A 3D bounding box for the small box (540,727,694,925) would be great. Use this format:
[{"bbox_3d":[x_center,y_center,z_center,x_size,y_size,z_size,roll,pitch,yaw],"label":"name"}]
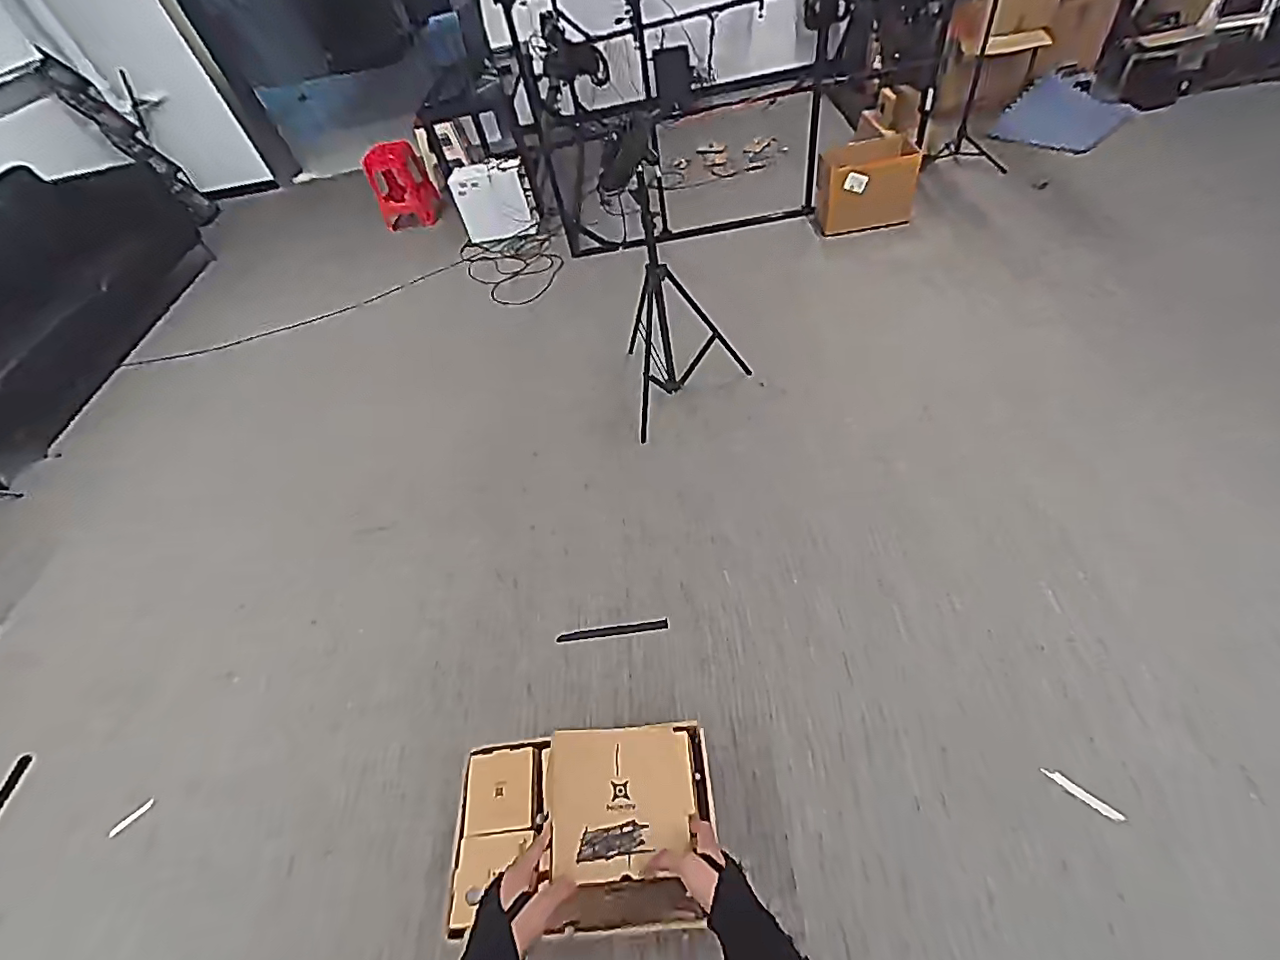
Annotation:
[{"bbox_3d":[-0.040,0.447,0.700,0.168,0.176,0.179,4,38,-12],"label":"small box"}]
